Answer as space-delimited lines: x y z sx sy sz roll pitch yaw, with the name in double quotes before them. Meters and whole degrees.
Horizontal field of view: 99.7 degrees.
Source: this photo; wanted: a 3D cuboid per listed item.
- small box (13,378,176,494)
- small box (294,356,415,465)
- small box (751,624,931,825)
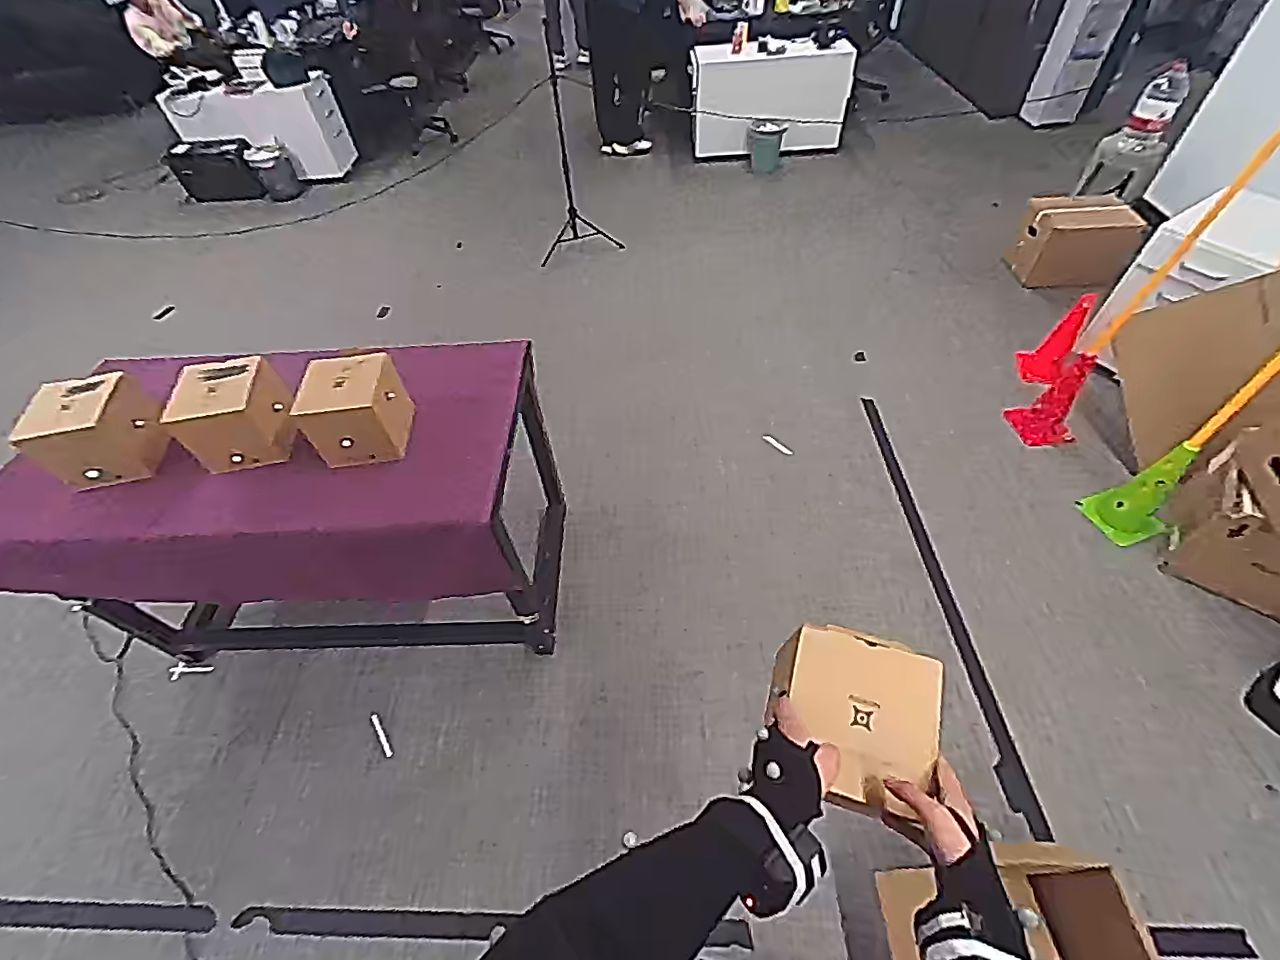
"small box" -1.192 -0.097 1.203 0.168 0.176 0.179 -13 52 -6
"small box" -0.621 -0.147 1.201 0.168 0.176 0.179 -7 50 -2
"small box" 0.245 0.310 0.684 0.168 0.176 0.179 14 60 10
